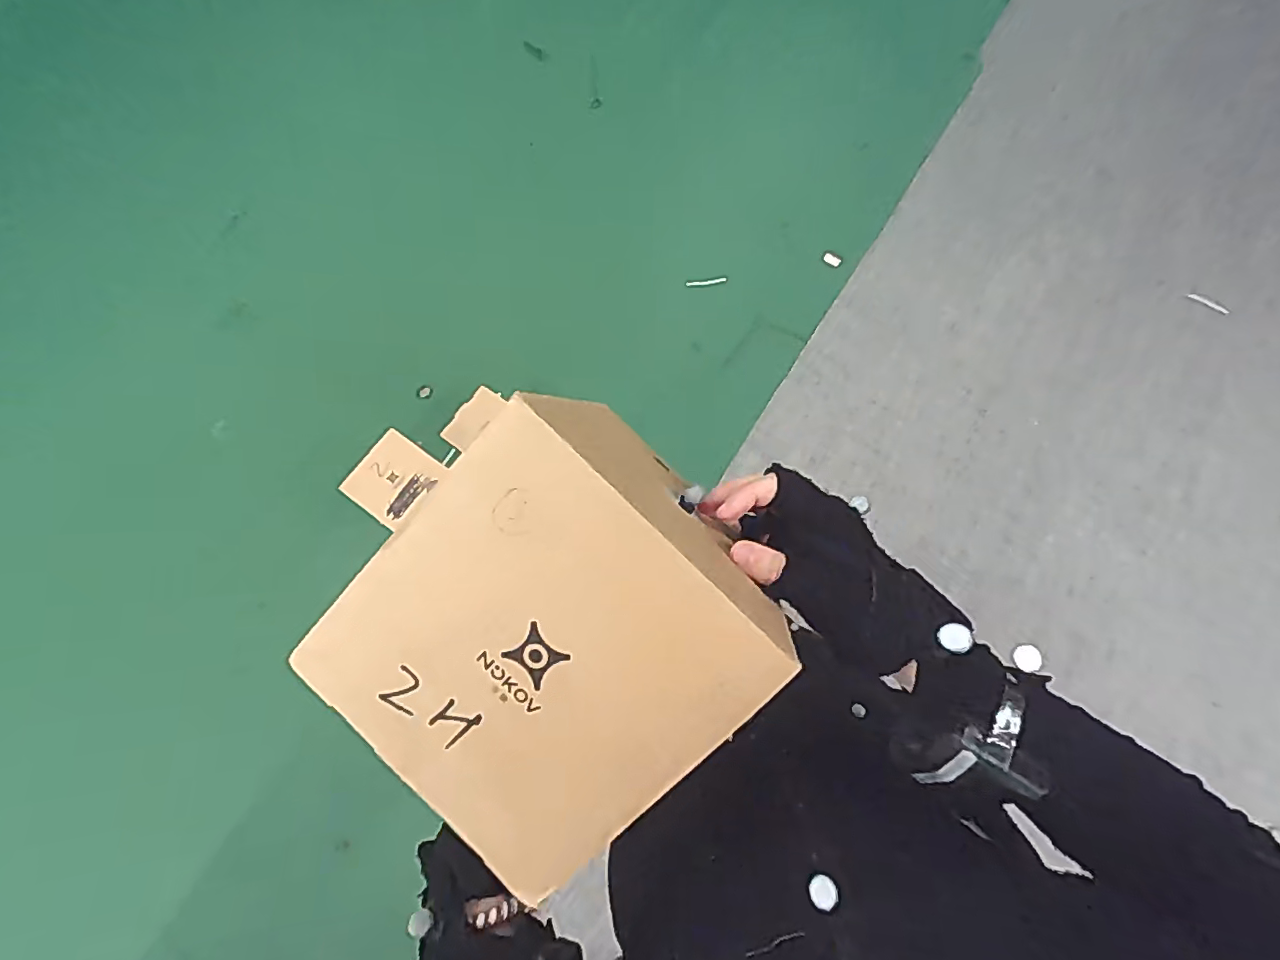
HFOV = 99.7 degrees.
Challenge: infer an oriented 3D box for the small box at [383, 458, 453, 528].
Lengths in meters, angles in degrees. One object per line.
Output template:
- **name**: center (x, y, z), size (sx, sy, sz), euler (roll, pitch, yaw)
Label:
- **small box**: center (-0.489, 0.076, 1.352), size (0.179, 0.176, 0.168), euler (36, 79, 11)

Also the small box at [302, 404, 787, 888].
- **small box**: center (-0.040, 0.072, 0.326), size (0.168, 0.176, 0.179), euler (44, 101, 3)
